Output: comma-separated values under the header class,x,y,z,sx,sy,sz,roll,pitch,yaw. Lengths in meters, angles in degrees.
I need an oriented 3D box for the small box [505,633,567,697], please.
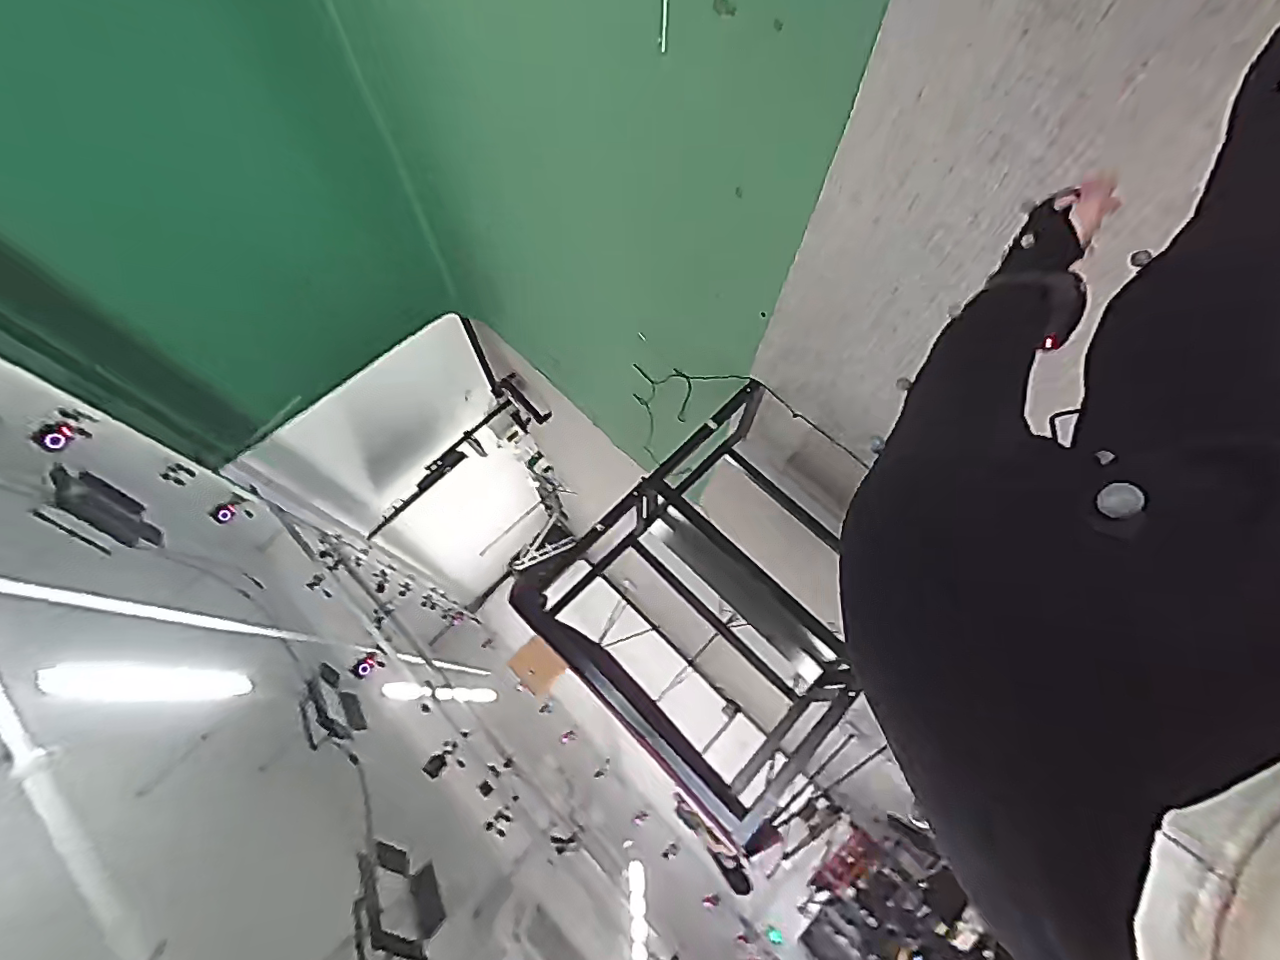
class,x,y,z,sx,sy,sz,roll,pitch,yaw
small box,-0.404,0.734,2.148,0.179,0.176,0.168,42,164,14
